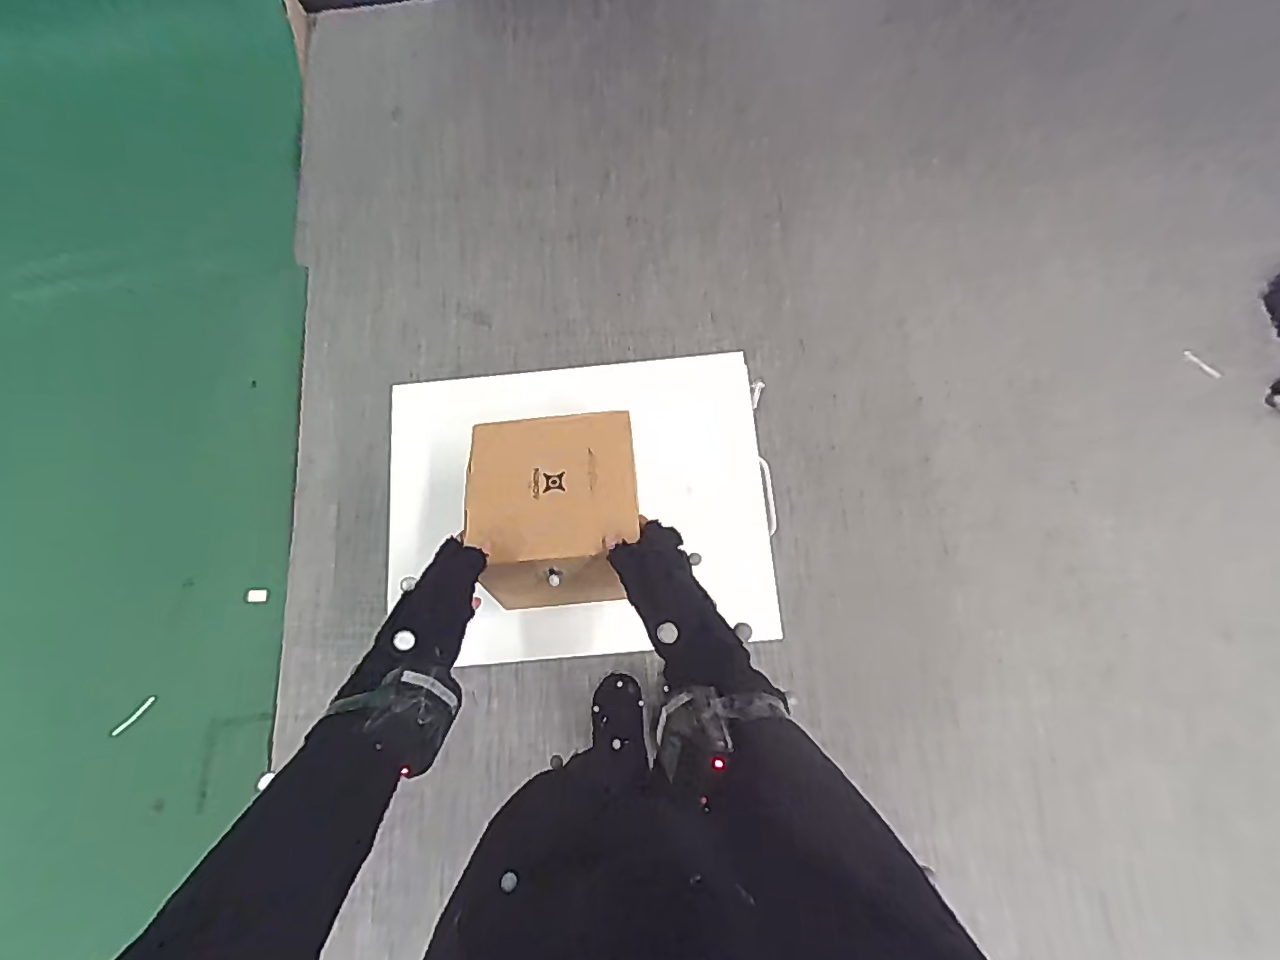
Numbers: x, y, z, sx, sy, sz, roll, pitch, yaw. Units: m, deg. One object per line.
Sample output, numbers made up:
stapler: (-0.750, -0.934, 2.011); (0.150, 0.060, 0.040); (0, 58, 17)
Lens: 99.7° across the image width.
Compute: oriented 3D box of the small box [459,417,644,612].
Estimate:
small box: (-0.091, 0.048, 0.631); (0.179, 0.176, 0.168); (-5, 60, -1)
